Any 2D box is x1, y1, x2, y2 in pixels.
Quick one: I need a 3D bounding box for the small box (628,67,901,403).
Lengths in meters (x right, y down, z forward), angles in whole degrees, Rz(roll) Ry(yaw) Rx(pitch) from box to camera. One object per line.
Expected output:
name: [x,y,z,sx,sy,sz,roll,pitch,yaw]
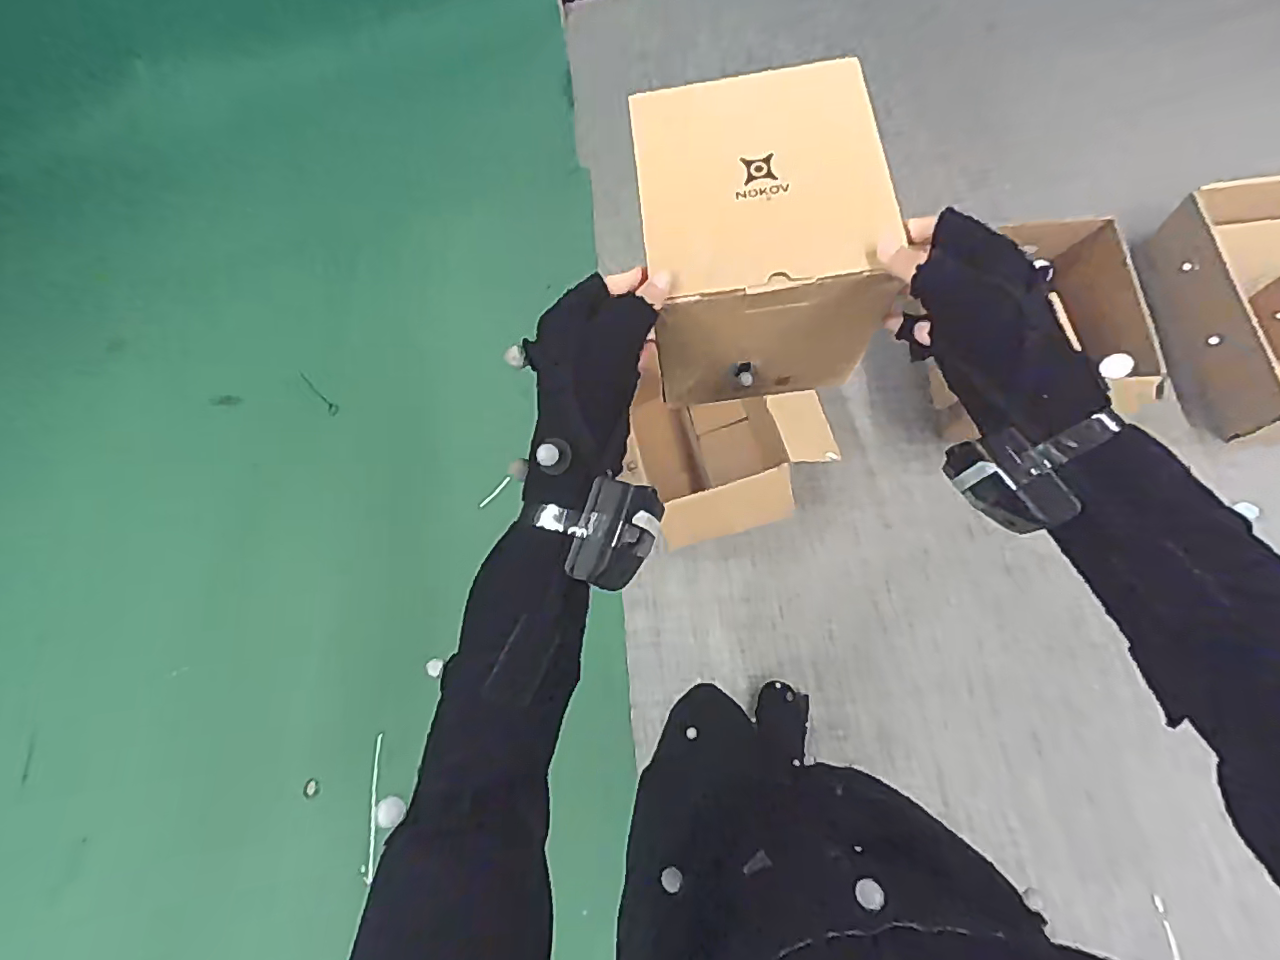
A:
small box: [0.085,-0.184,0.446,0.168,0.176,0.179,-7,74,5]
